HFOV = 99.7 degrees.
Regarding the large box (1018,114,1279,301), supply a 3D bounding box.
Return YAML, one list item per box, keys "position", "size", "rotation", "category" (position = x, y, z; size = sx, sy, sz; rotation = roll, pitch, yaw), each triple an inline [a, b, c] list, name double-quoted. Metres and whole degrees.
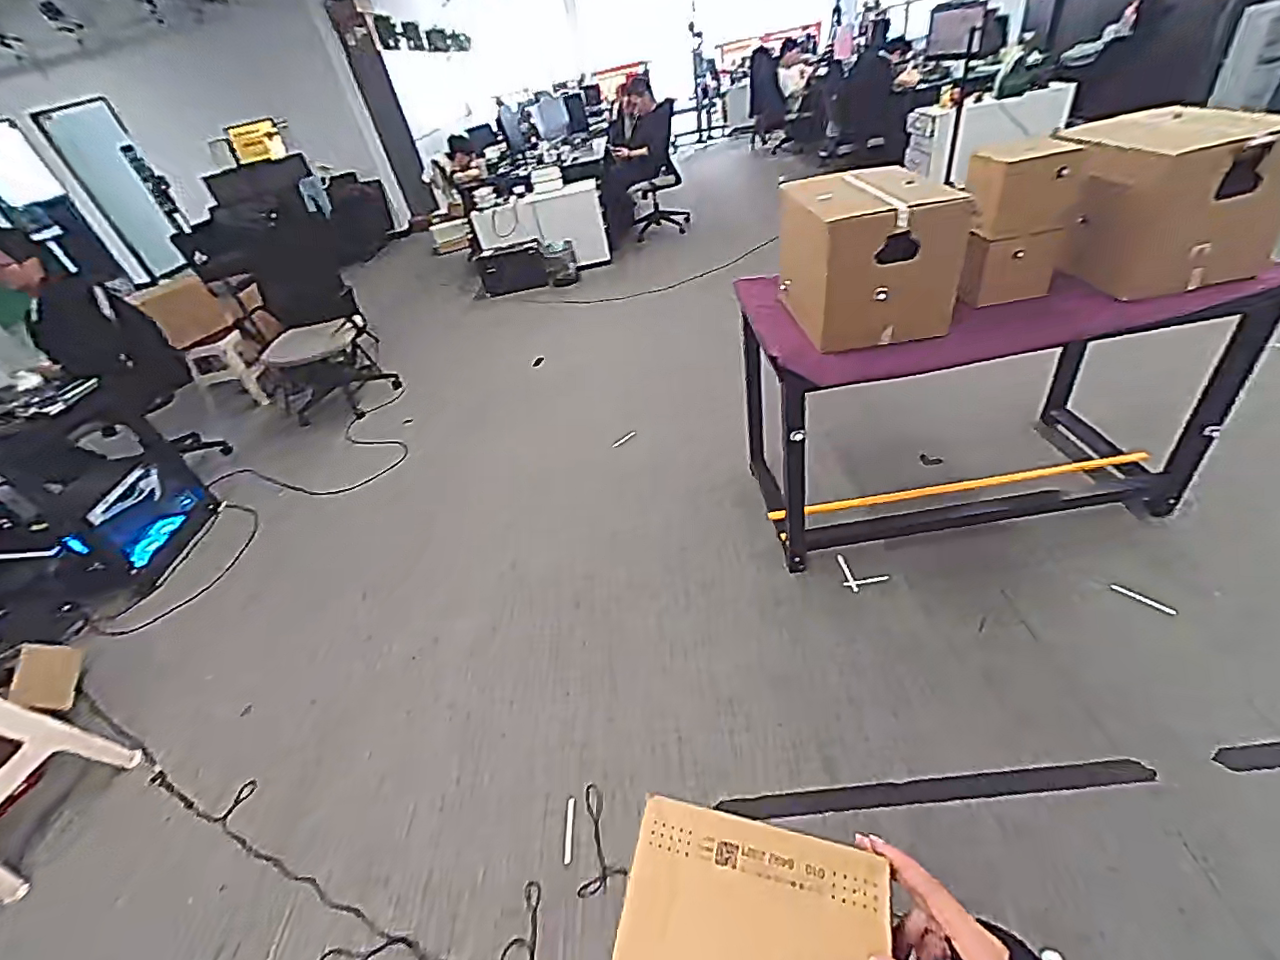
- position: [1.236, -0.678, 1.331]
  size: [0.320, 0.320, 0.408]
  rotation: [-10, 37, 3]
  category: "large box"
